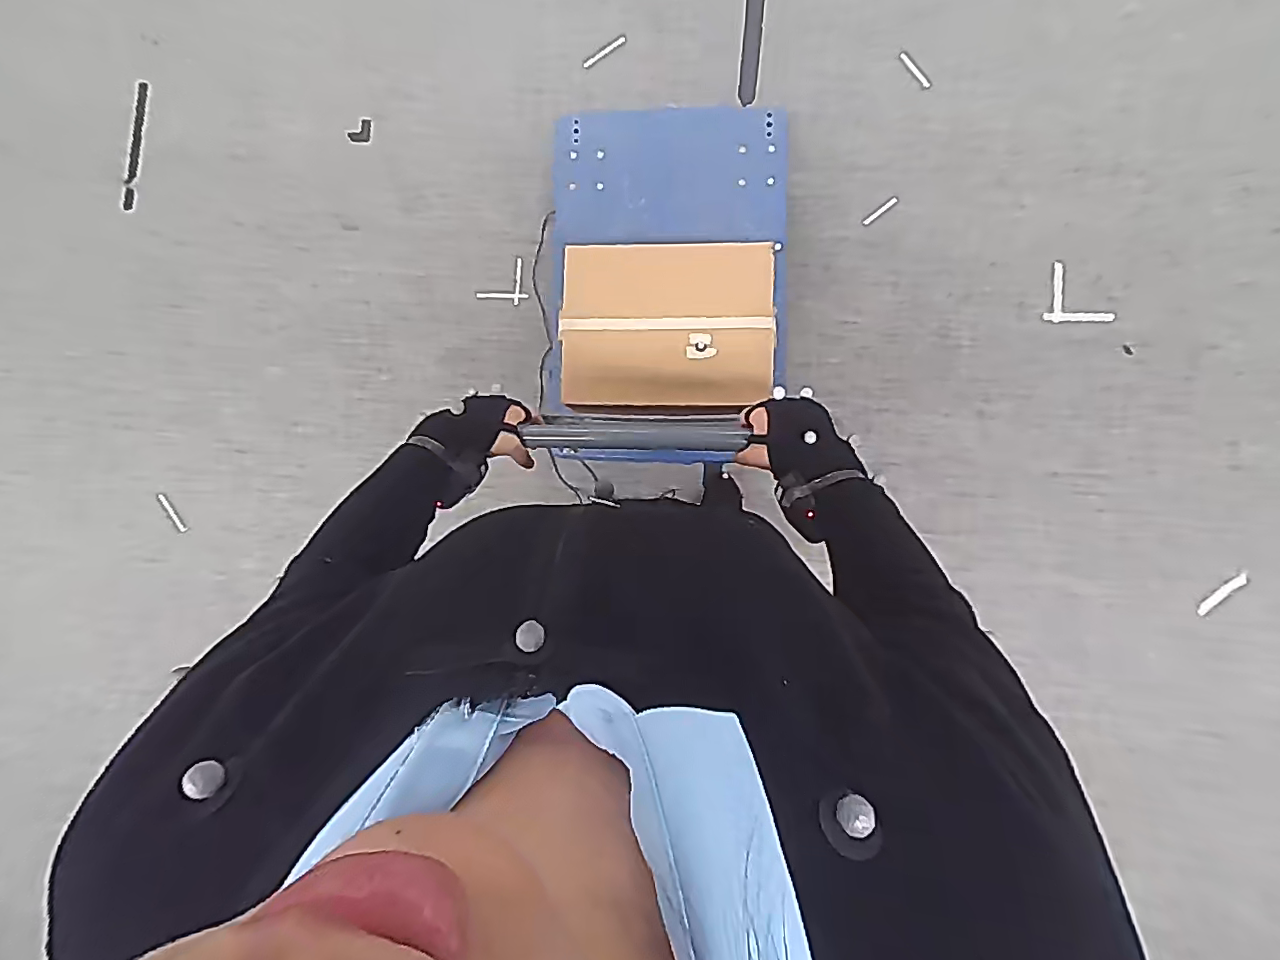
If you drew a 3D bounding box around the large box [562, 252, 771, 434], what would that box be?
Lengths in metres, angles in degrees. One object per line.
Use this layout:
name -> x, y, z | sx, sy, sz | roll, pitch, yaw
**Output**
large box -> 0.057, -0.274, 1.180 | 0.408, 0.320, 0.320 | 1, 89, 4
